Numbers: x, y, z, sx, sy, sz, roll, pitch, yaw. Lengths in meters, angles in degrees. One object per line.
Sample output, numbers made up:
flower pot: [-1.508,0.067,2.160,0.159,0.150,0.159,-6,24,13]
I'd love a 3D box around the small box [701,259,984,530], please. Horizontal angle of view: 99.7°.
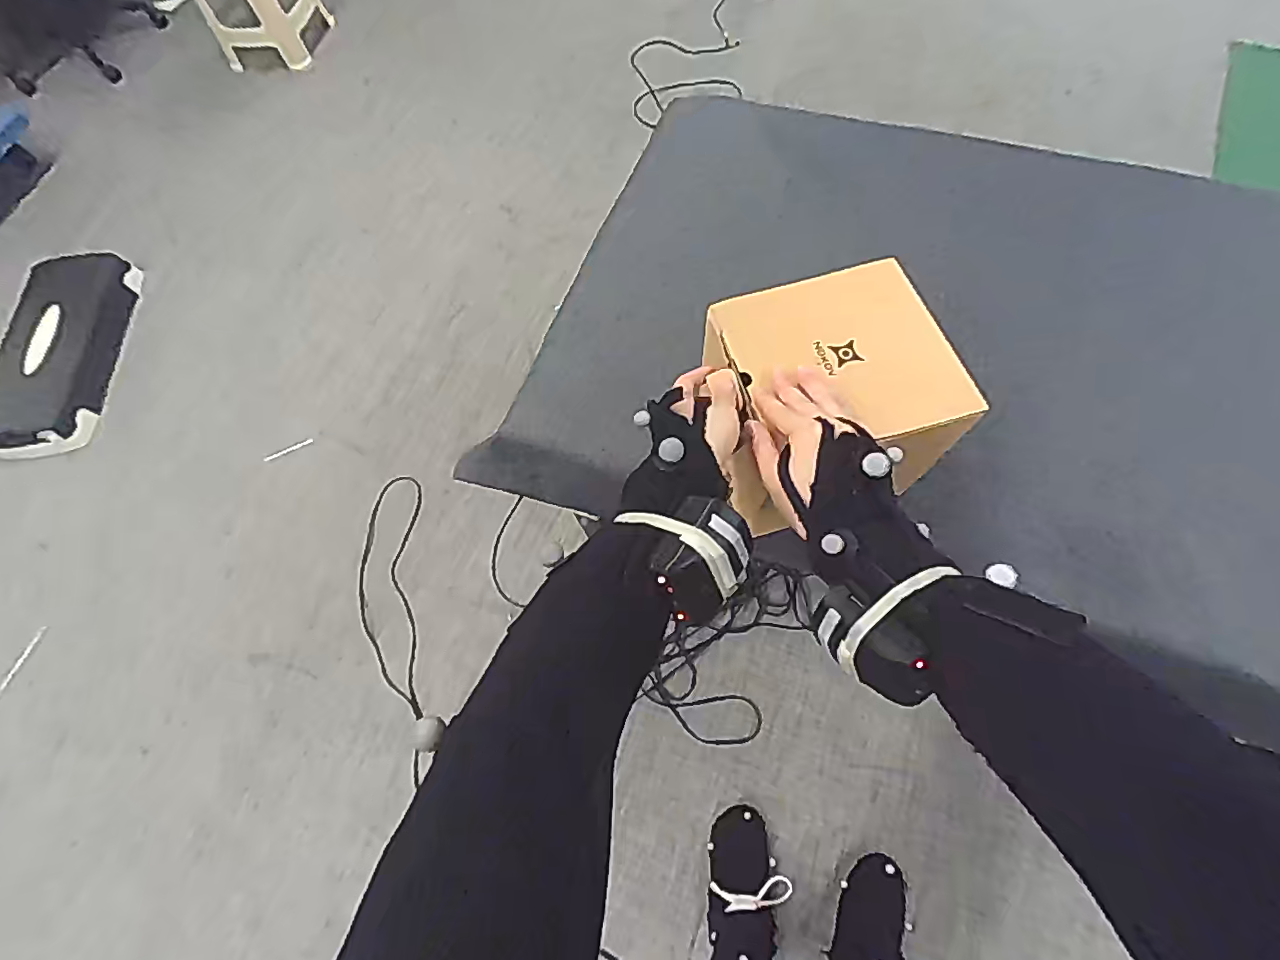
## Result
small box: [0.165,-0.069,0.511,0.179,0.176,0.168,-16,67,-3]
